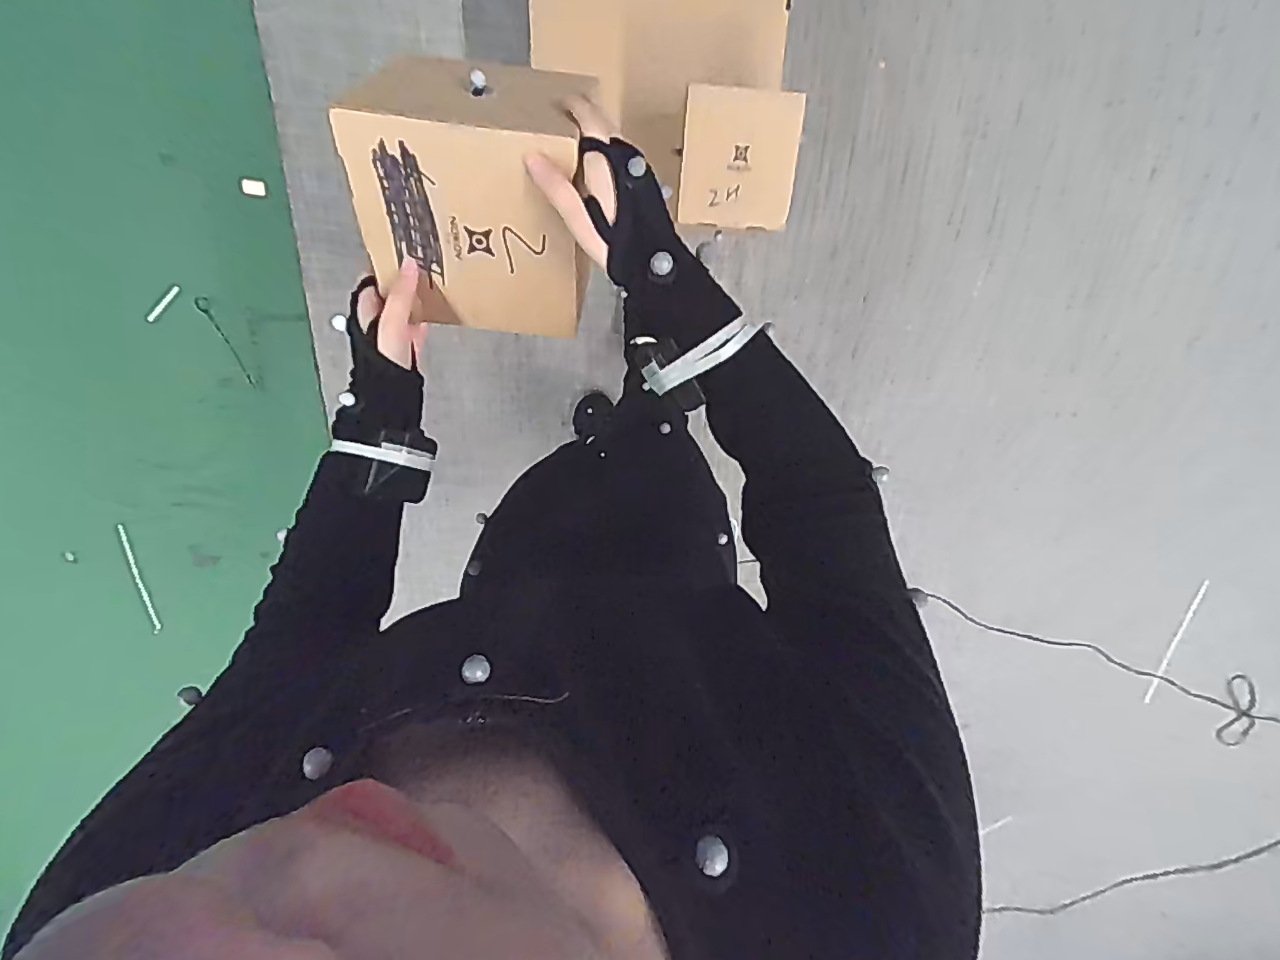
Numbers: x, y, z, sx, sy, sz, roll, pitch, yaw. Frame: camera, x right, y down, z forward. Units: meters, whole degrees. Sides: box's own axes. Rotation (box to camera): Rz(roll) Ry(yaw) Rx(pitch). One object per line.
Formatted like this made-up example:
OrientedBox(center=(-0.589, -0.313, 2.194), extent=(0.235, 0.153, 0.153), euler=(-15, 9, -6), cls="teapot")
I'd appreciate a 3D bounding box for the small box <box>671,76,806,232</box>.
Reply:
OrientedBox(center=(0.140, -0.493, 0.843), extent=(0.168, 0.176, 0.179), euler=(4, 113, -2), cls="small box")
